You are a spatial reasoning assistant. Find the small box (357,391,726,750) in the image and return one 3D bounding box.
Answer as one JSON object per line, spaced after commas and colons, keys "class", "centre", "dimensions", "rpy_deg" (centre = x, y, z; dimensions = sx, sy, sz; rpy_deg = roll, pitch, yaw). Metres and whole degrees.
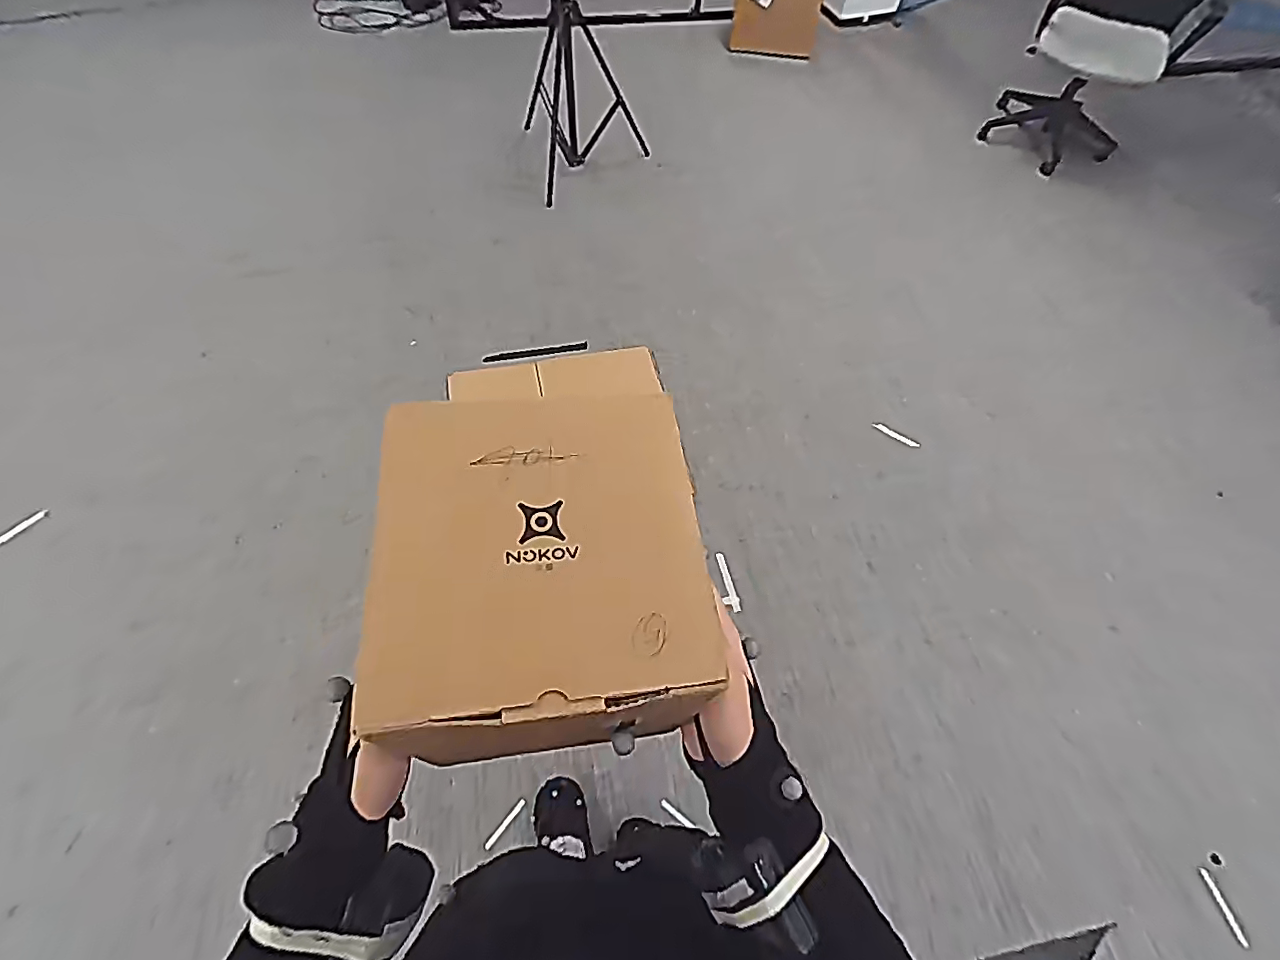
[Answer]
{"class": "small box", "centre": [-0.059, 0.065, 0.346], "dimensions": [0.168, 0.176, 0.179], "rpy_deg": [-3, 58, -11]}
